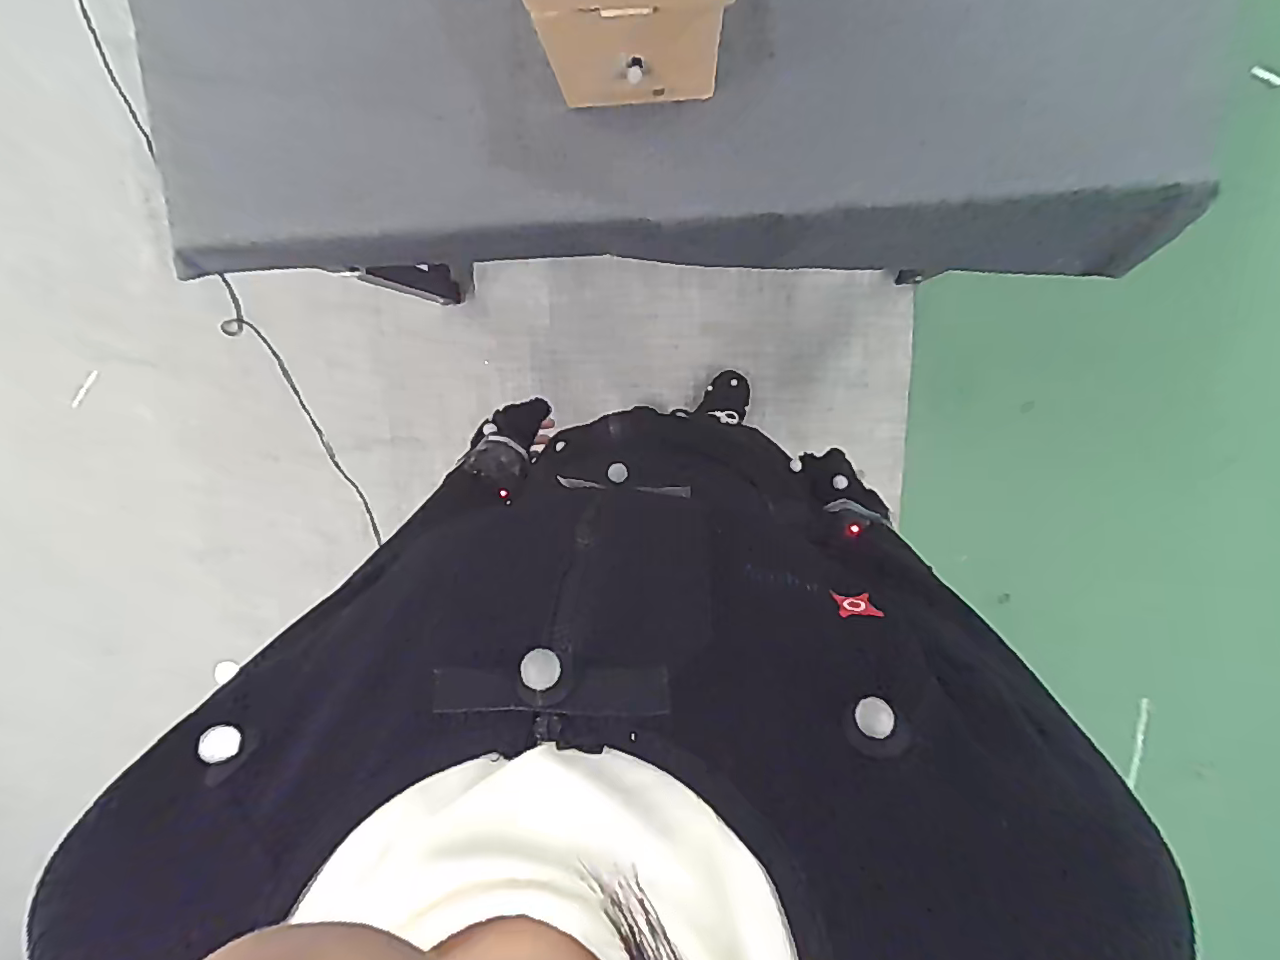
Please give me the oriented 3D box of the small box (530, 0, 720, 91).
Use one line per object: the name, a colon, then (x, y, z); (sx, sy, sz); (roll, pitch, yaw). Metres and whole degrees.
small box: (-0.007, -0.500, 0.511); (0.168, 0.176, 0.179); (-1, 102, 6)
